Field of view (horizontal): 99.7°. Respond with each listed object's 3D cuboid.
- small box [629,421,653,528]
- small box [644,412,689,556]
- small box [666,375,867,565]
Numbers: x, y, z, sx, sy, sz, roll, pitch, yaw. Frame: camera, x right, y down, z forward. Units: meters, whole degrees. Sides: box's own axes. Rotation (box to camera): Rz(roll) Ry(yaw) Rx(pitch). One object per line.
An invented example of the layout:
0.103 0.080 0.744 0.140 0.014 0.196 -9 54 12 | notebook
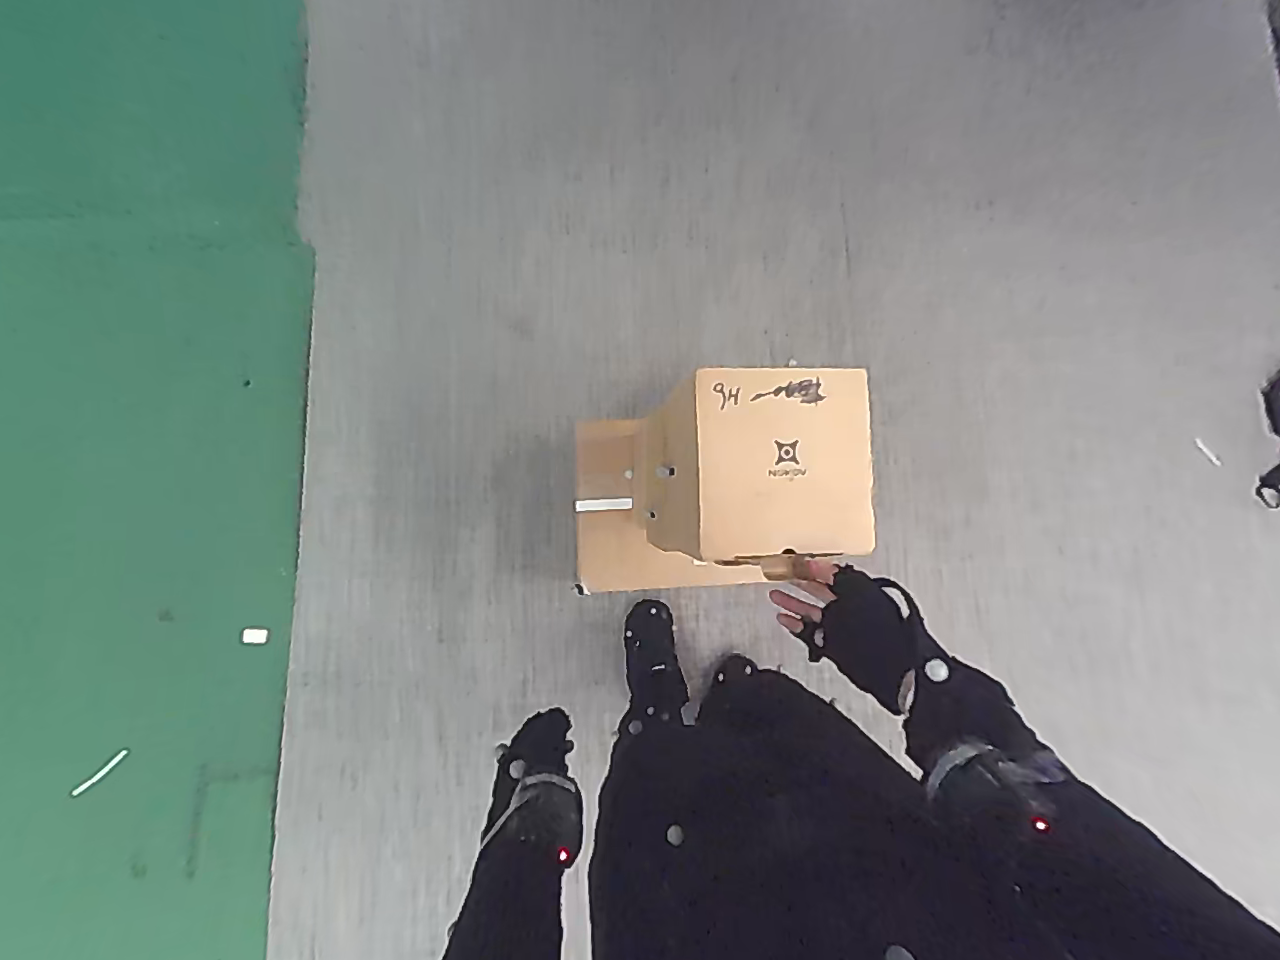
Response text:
0.081 0.003 0.900 0.179 0.176 0.168 5 85 -5 | small box
0.097 0.007 0.741 0.168 0.176 0.179 -2 86 -7 | small box
0.123 -0.009 0.580 0.168 0.176 0.179 -1 88 -7 | small box
